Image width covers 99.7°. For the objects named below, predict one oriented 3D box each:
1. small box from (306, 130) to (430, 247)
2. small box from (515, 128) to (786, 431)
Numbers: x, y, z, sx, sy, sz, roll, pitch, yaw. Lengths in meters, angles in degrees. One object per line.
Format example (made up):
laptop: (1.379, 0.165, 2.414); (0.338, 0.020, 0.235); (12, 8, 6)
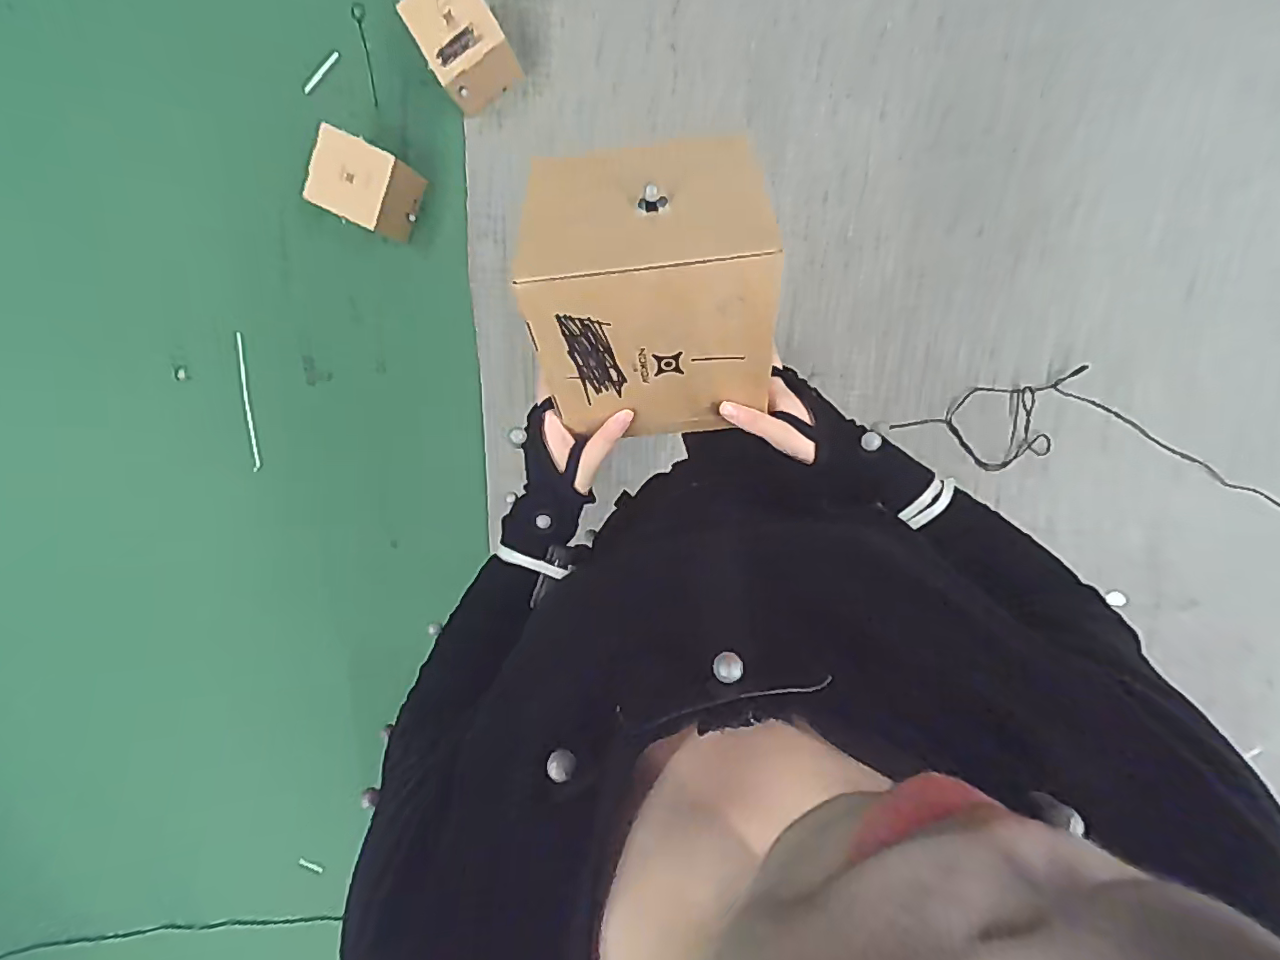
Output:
small box: (-0.635, -0.675, 1.278); (0.179, 0.176, 0.168); (25, 103, -2)
small box: (0.011, -0.163, 0.452); (0.179, 0.176, 0.168); (-6, 144, 4)
